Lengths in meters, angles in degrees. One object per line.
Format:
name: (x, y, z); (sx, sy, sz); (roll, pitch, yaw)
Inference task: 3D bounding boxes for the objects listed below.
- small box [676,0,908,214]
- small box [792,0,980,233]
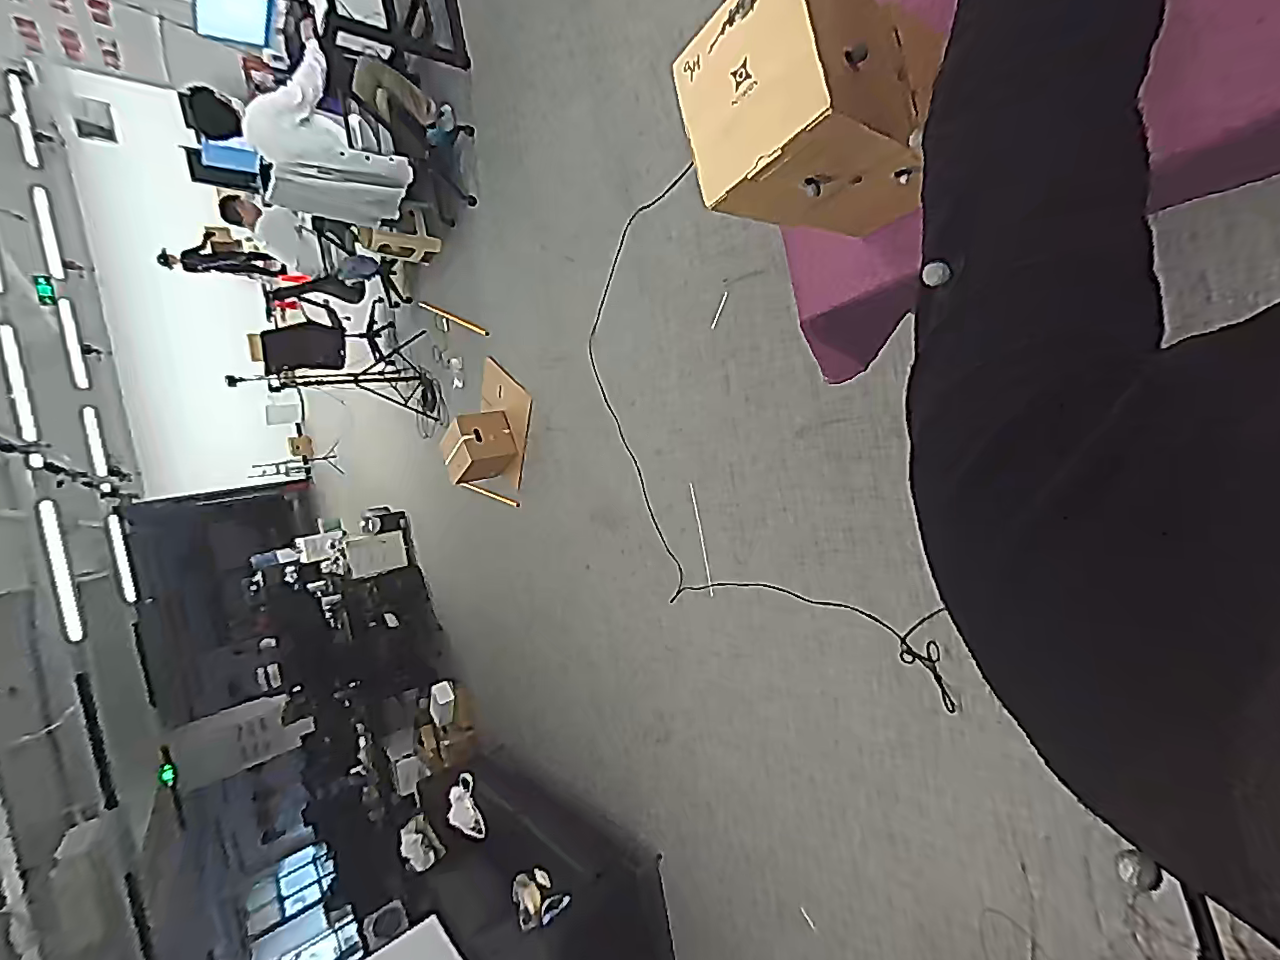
small box: (0.171, -0.422, 0.606); (0.168, 0.176, 0.179); (-15, 88, 51)
small box: (0.302, -0.445, 0.703); (0.179, 0.176, 0.168); (-15, 87, 52)
